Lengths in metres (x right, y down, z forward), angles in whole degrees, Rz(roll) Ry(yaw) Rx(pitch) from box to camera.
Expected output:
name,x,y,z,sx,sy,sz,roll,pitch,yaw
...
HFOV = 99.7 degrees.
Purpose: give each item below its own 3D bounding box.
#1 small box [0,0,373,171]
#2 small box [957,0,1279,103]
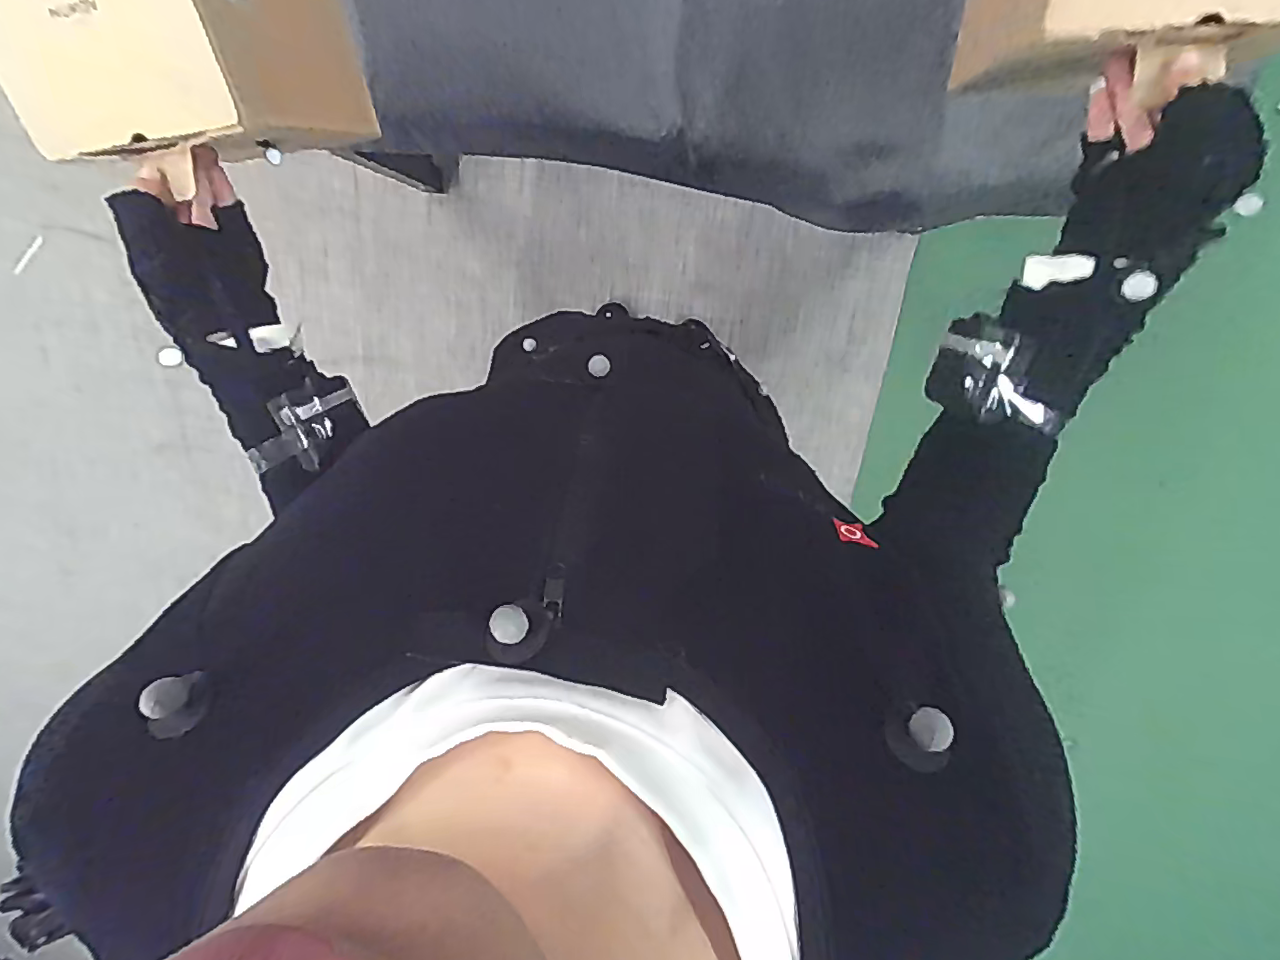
name,x,y,z,sx,sy,sz,roll,pitch,yaw
small box,-0.330,-0.332,0.387,0.168,0.176,0.179,-3,119,10
small box,0.322,-0.346,0.332,0.168,0.176,0.179,5,116,9
